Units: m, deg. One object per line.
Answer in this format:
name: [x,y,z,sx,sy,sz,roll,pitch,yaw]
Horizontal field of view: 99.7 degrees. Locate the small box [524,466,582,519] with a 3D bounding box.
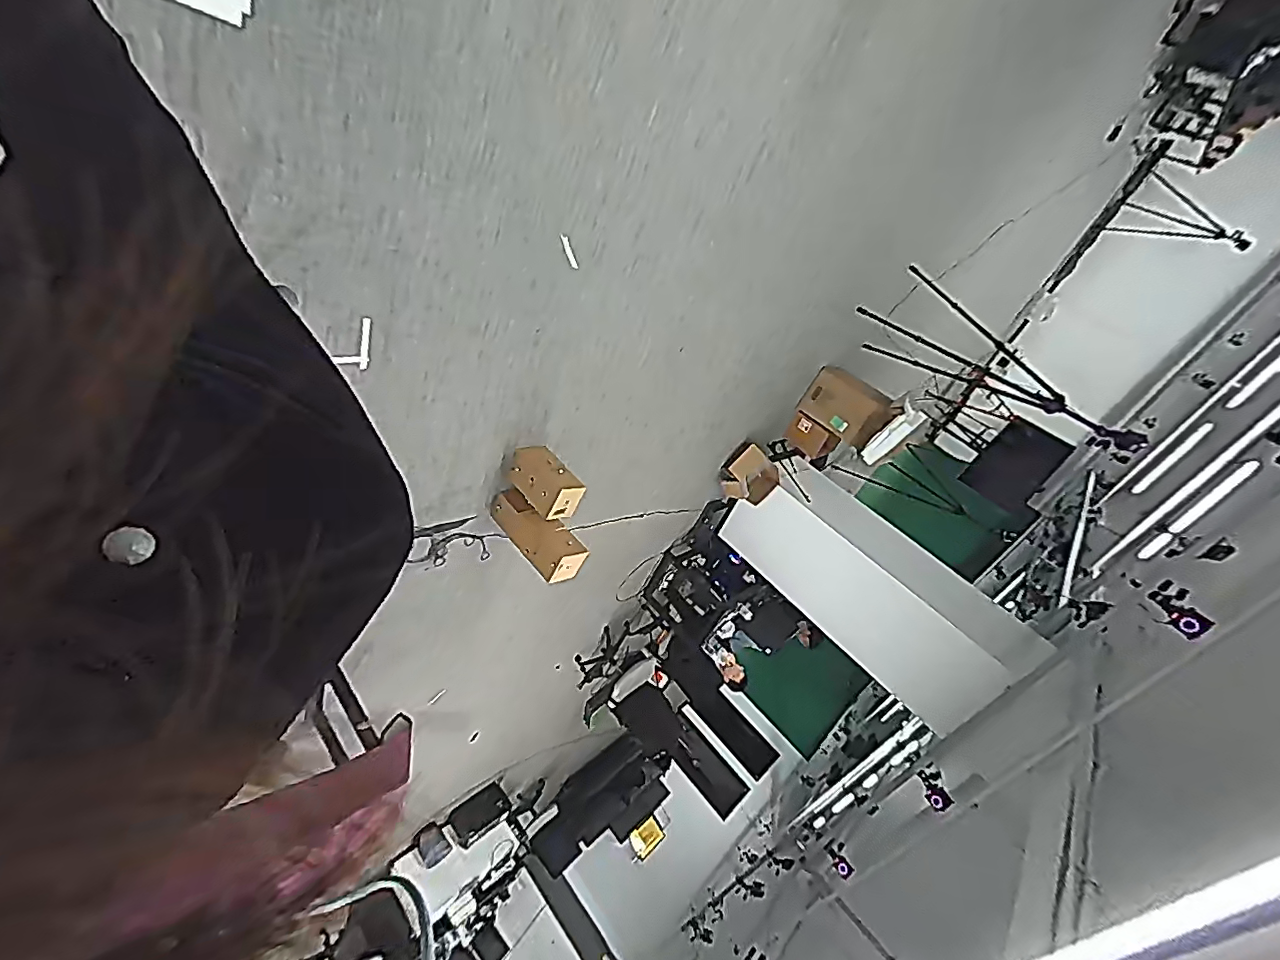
small box: [-0.402,0.055,2.457,0.168,0.176,0.179,-5,131,-55]

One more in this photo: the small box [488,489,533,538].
small box: [-0.614,0.153,2.650,0.179,0.176,0.168,-14,138,-48]

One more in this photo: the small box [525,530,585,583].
small box: [-0.397,0.348,2.504,0.179,0.176,0.168,-5,131,-56]

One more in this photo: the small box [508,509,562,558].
small box: [-0.506,0.251,2.579,0.168,0.176,0.179,-13,137,-50]

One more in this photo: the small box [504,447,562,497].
small box: [-0.504,-0.041,2.543,0.179,0.176,0.168,-9,134,-52]
